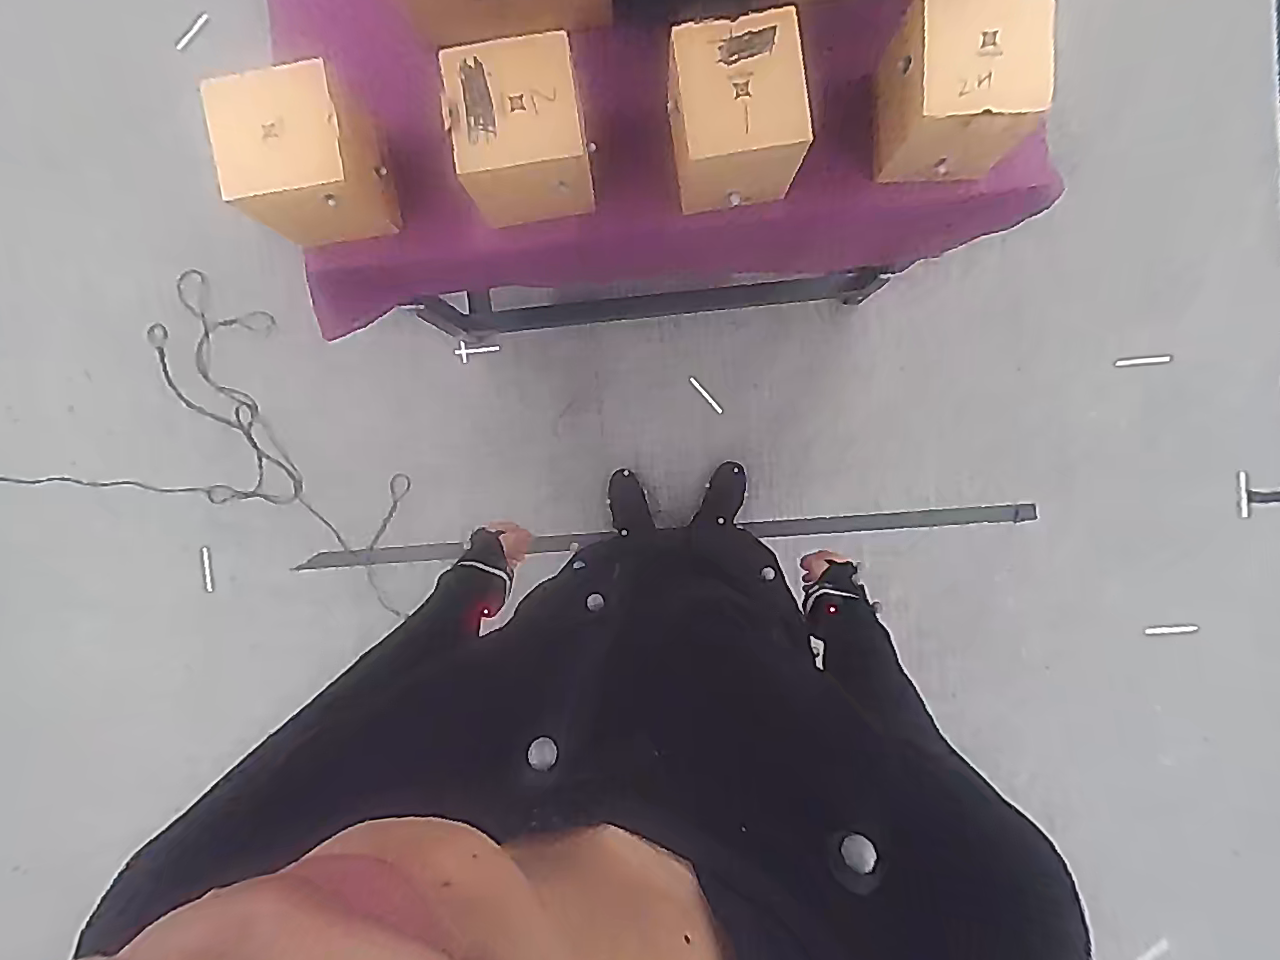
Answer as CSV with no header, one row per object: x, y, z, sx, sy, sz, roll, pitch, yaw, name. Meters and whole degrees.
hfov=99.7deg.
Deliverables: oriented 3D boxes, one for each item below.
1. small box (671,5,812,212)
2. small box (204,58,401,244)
0.137,-0.523,0.785,0.168,0.176,0.179,-8,93,3,small box
-0.489,-0.474,0.808,0.179,0.176,0.168,-9,92,1,small box
